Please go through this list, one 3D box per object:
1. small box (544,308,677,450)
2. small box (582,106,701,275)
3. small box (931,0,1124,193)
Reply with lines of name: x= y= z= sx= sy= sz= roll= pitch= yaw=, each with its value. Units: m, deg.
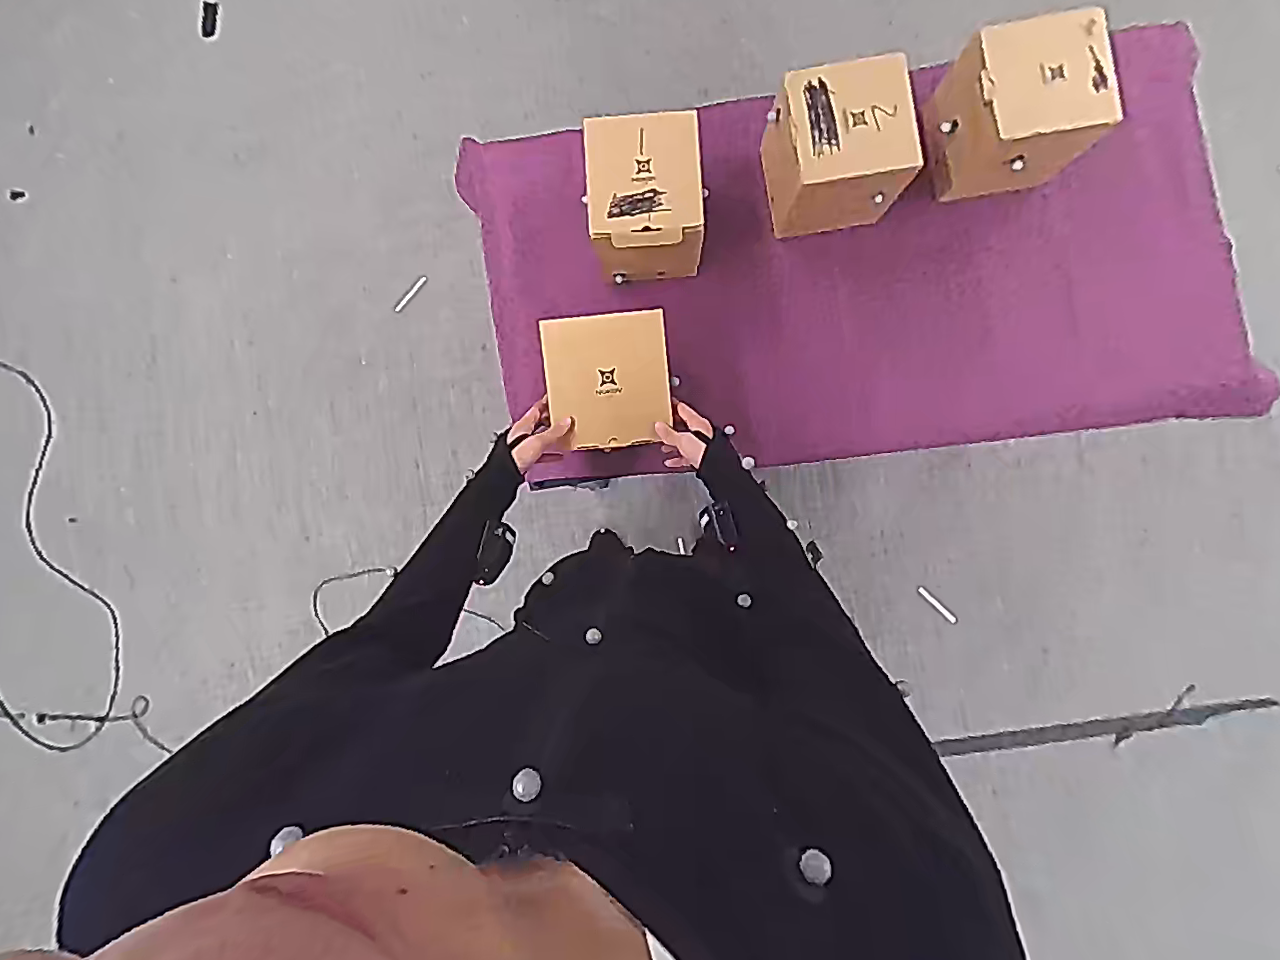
small box: x=-0.042 y=-0.140 z=0.792 sx=0.168 sy=0.176 sz=0.179 roll=-6 pitch=97 yaw=-1
small box: x=0.006 y=-0.434 z=0.841 sx=0.168 sy=0.176 sz=0.179 roll=-4 pitch=88 yaw=2
small box: x=0.570 y=-0.568 z=0.824 sx=0.179 sy=0.176 sz=0.168 roll=-9 pitch=90 yaw=3
